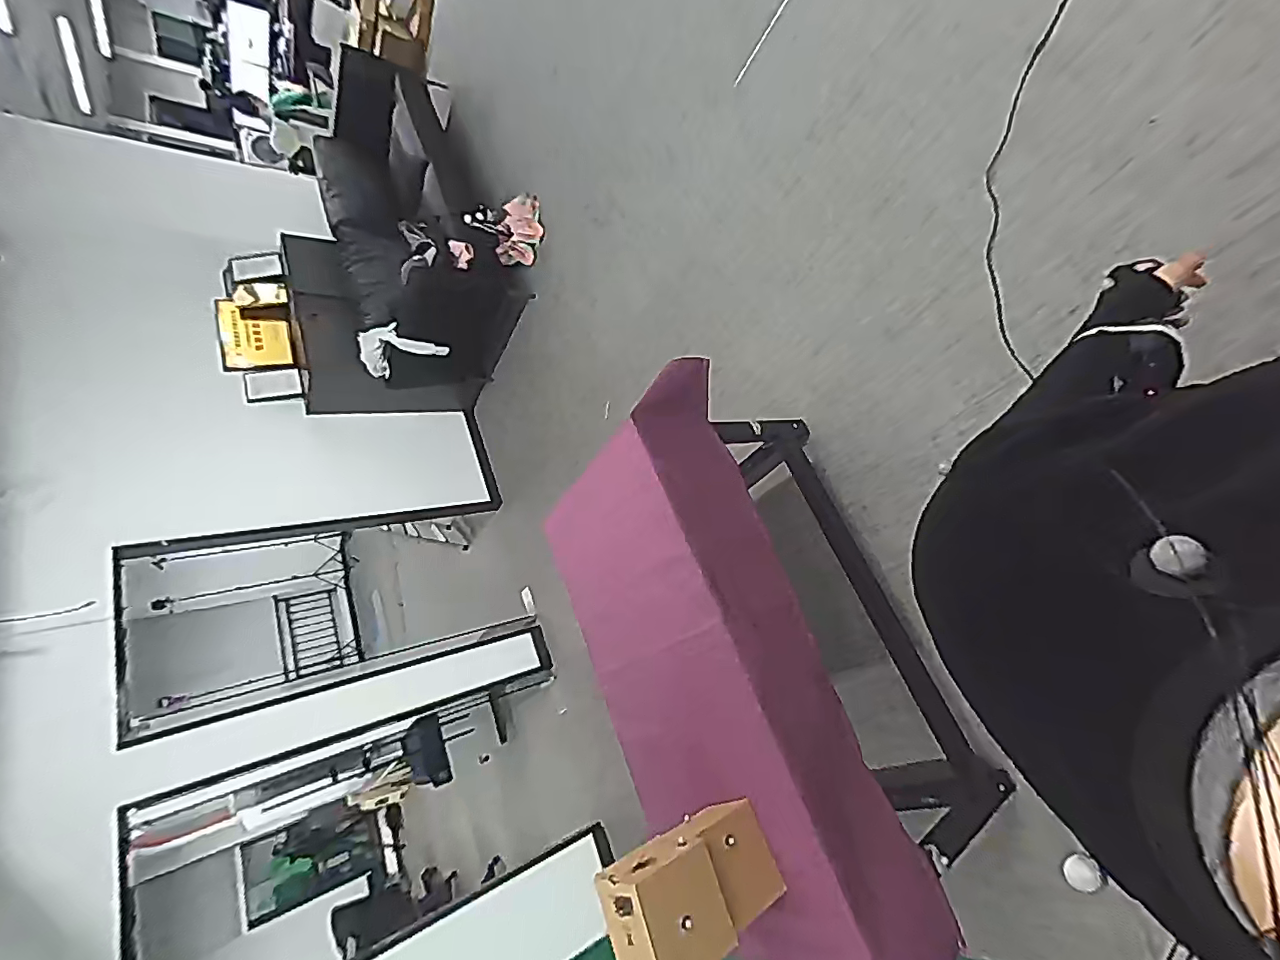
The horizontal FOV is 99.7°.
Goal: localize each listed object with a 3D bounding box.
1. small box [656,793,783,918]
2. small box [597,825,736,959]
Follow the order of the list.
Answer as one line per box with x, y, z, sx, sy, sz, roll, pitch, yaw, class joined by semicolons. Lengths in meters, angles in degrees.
0.167;0.792;1.151;0.168;0.176;0.179;-48;59;45;small box
0.050;0.790;1.032;0.168;0.176;0.179;-41;64;48;small box
